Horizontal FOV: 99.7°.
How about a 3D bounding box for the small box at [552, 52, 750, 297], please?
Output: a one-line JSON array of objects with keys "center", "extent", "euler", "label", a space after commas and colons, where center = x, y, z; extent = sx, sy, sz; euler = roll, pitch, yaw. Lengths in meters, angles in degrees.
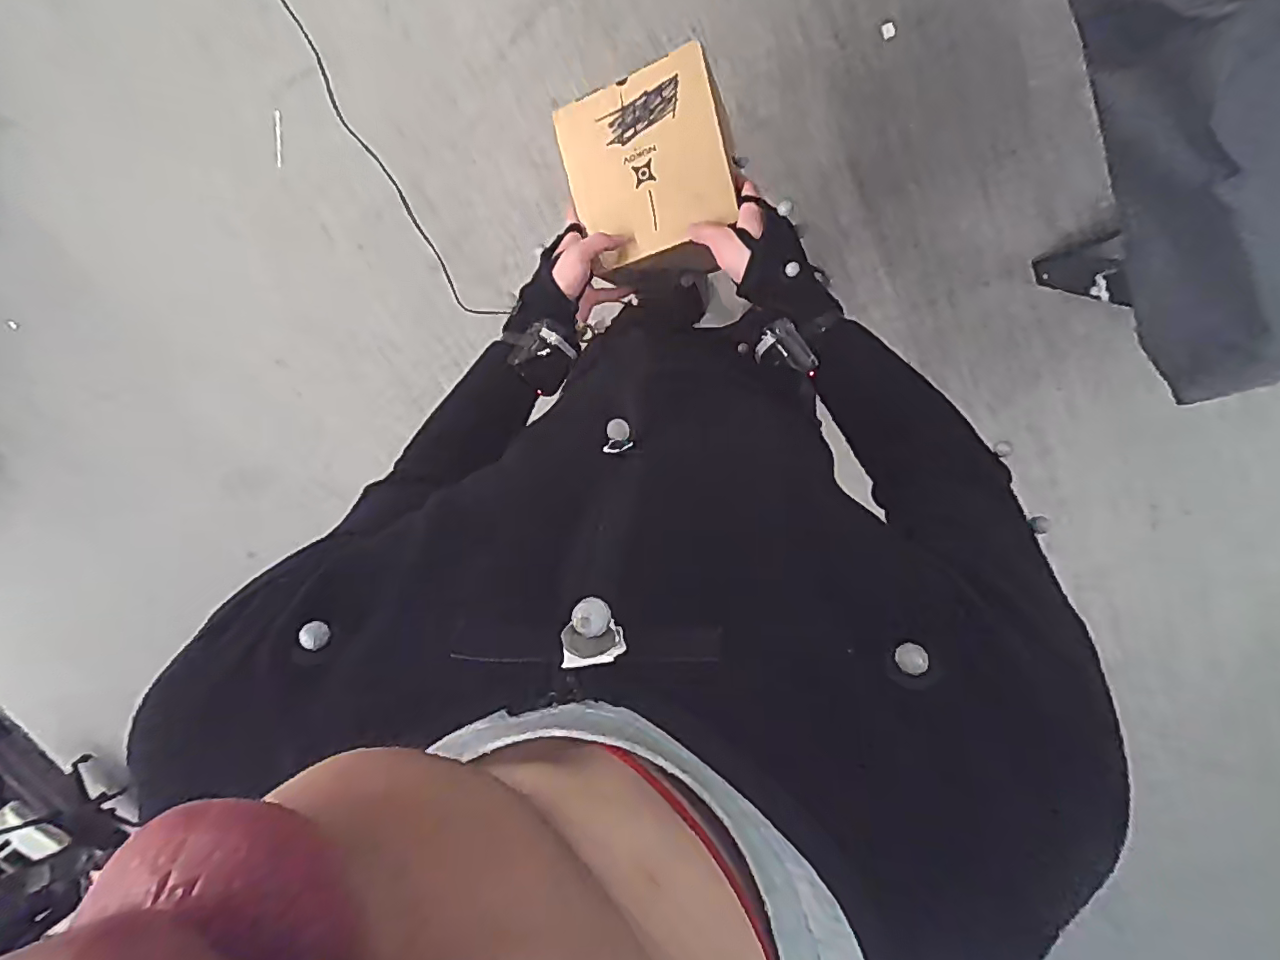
[{"center": [0.024, -0.335, 0.638], "extent": [0.168, 0.176, 0.179], "euler": [-12, 96, 21], "label": "small box"}]
